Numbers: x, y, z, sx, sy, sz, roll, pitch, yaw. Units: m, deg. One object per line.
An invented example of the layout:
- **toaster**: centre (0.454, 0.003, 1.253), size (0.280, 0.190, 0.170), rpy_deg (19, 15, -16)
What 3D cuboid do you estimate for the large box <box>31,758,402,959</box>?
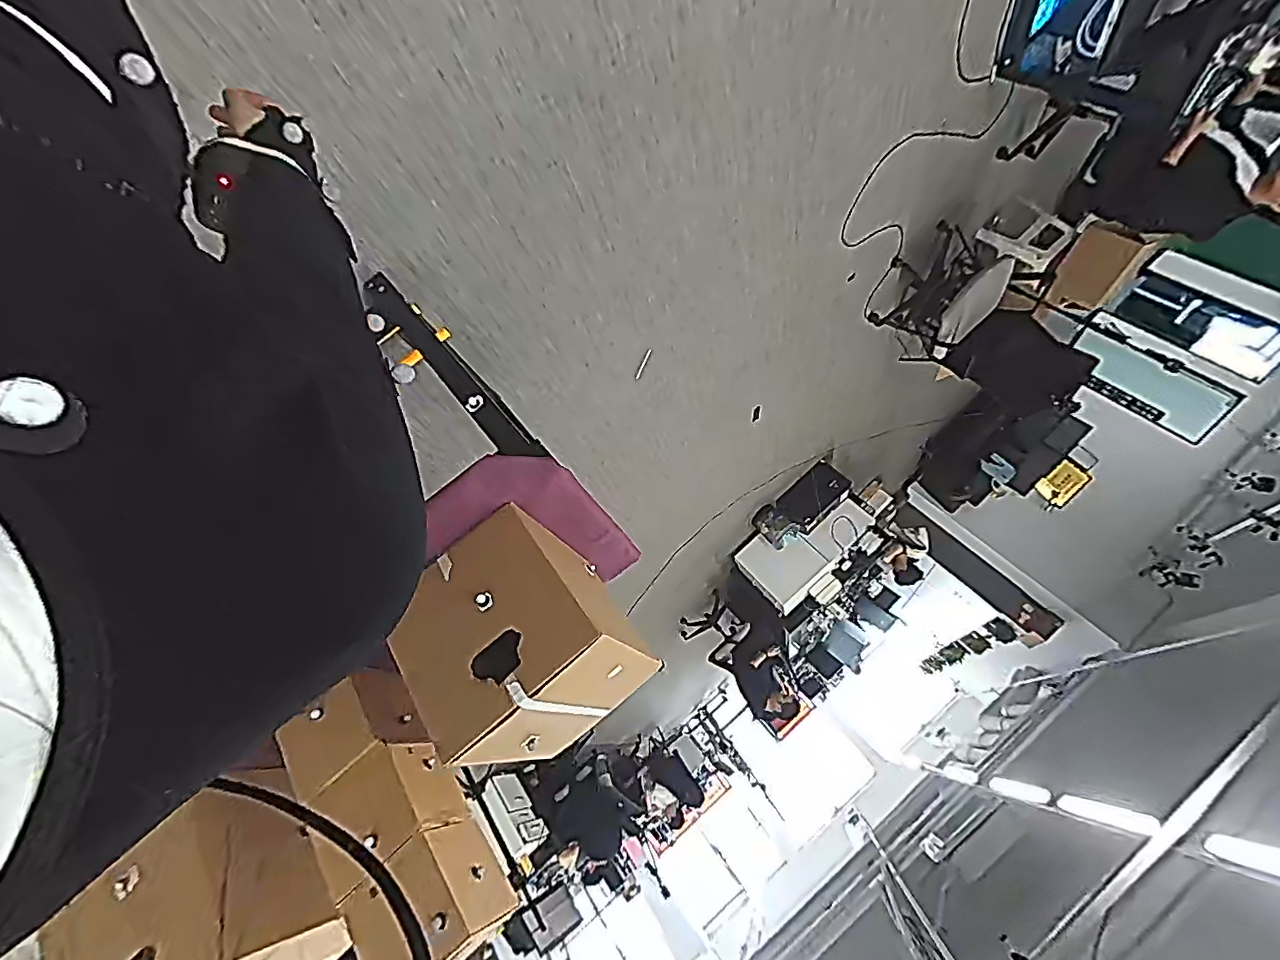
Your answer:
- **large box**: centre (-0.749, 0.761, 1.003), size (0.320, 0.320, 0.408), rpy_deg (-41, 152, -5)
